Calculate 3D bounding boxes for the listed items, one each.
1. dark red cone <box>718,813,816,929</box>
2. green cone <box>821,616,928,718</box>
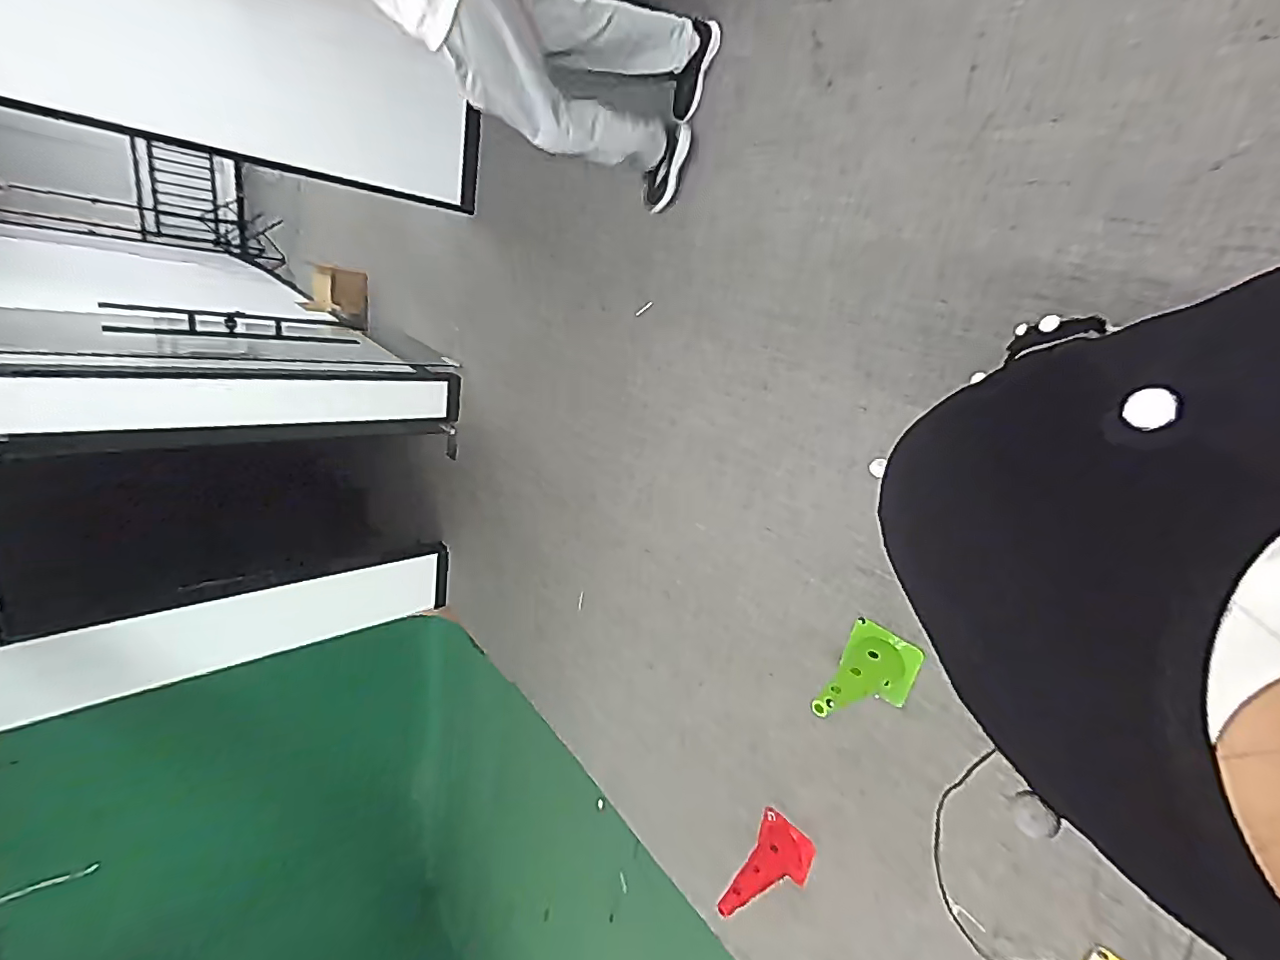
[{"bbox_3d":[0.390,1.307,1.764,0.202,0.394,0.201,24,115,43],"label":"dark red cone"},{"bbox_3d":[0.587,0.544,1.453,0.202,0.368,0.200,28,117,40],"label":"green cone"}]
